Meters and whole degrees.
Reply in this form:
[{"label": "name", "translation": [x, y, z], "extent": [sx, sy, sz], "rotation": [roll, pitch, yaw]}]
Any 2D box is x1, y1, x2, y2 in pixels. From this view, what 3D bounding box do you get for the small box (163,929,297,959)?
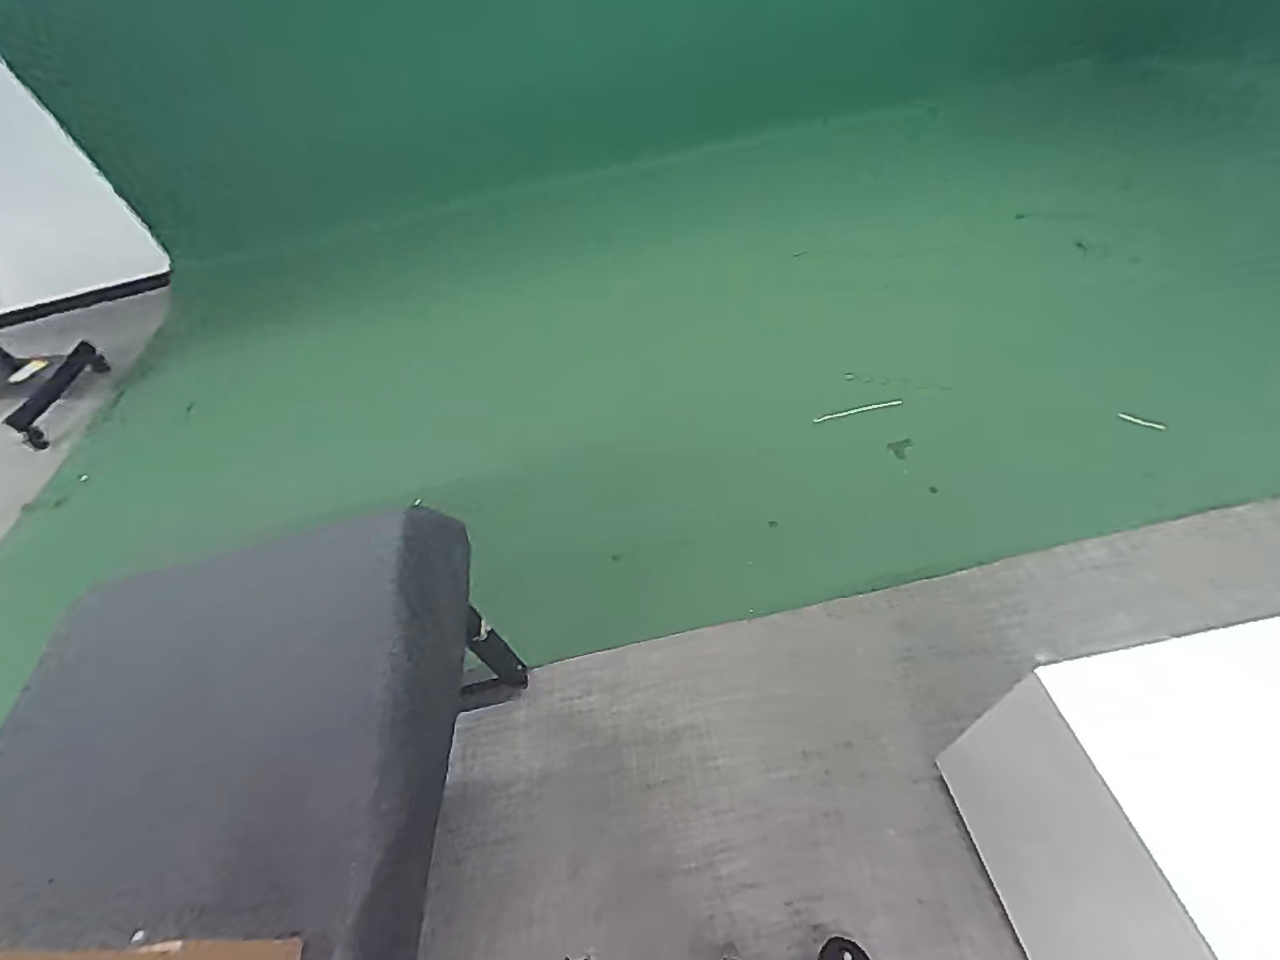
[{"label": "small box", "translation": [-0.448, 0.524, 0.480], "extent": [0.168, 0.176, 0.179], "rotation": [-12, 50, 3]}]
